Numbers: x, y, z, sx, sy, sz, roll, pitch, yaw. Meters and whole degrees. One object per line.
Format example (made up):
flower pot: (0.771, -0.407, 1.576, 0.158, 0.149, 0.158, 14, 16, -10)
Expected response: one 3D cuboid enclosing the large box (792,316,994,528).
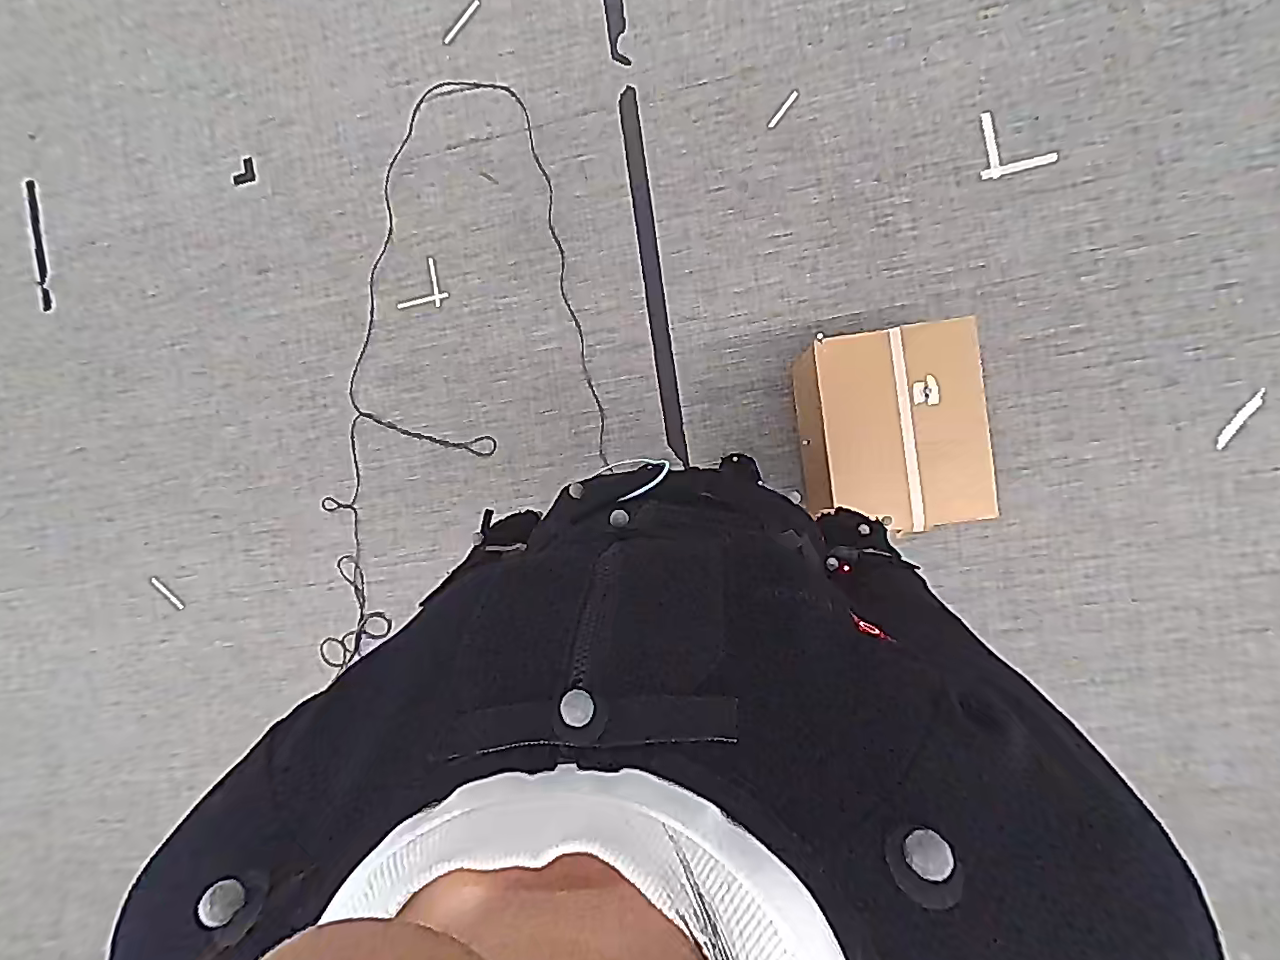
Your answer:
large box: (0.553, -0.117, 1.250, 0.320, 0.320, 0.408, -7, 90, 6)
